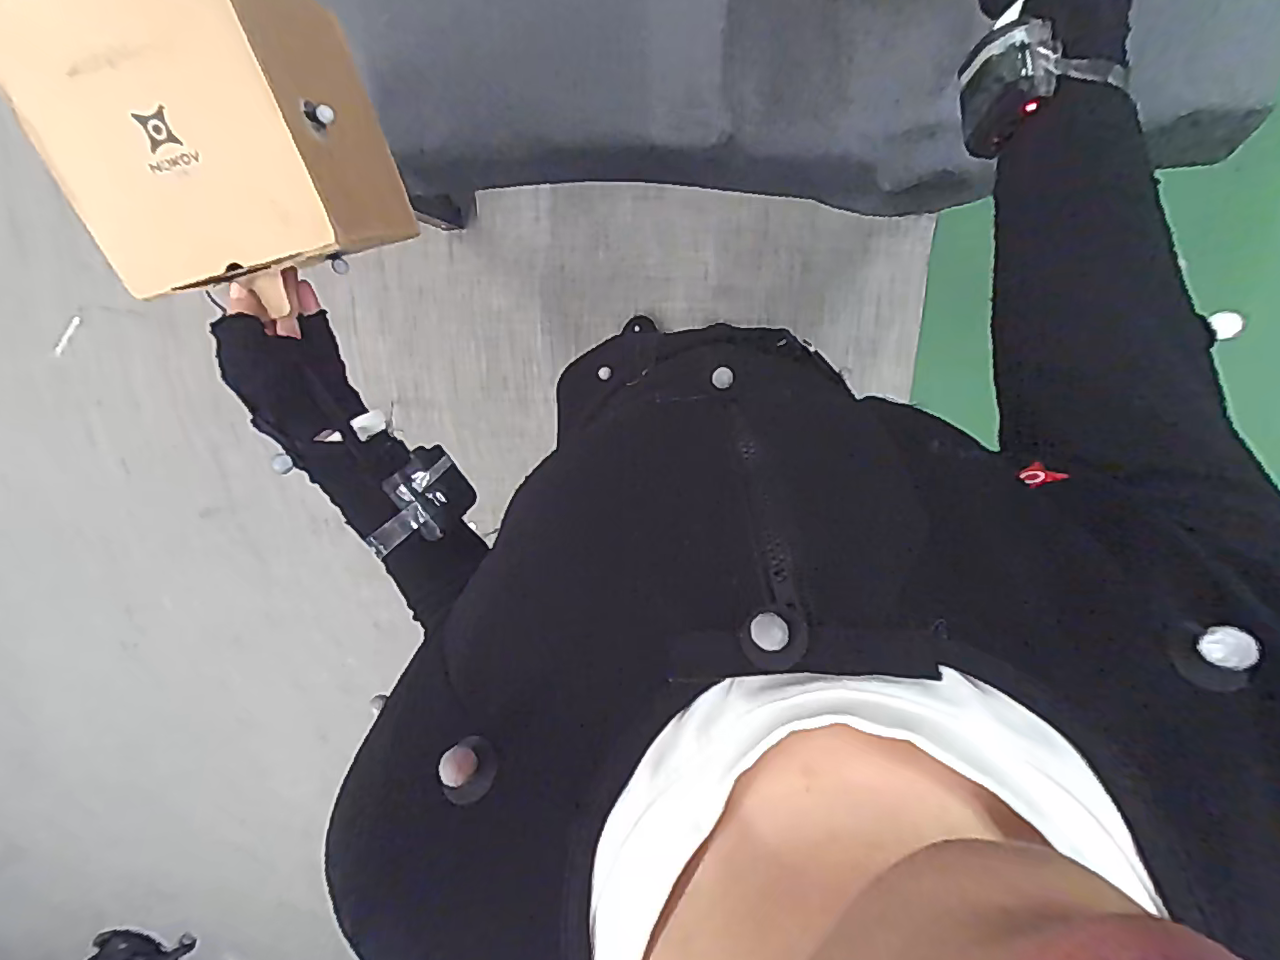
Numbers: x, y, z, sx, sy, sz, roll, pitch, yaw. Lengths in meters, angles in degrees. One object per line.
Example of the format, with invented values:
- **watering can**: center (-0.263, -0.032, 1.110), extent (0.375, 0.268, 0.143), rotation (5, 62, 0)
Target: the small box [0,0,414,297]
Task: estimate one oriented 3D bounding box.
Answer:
- **small box**: center (-0.305, -0.260, 0.416), extent (0.168, 0.176, 0.179), rotation (-13, 116, 5)
